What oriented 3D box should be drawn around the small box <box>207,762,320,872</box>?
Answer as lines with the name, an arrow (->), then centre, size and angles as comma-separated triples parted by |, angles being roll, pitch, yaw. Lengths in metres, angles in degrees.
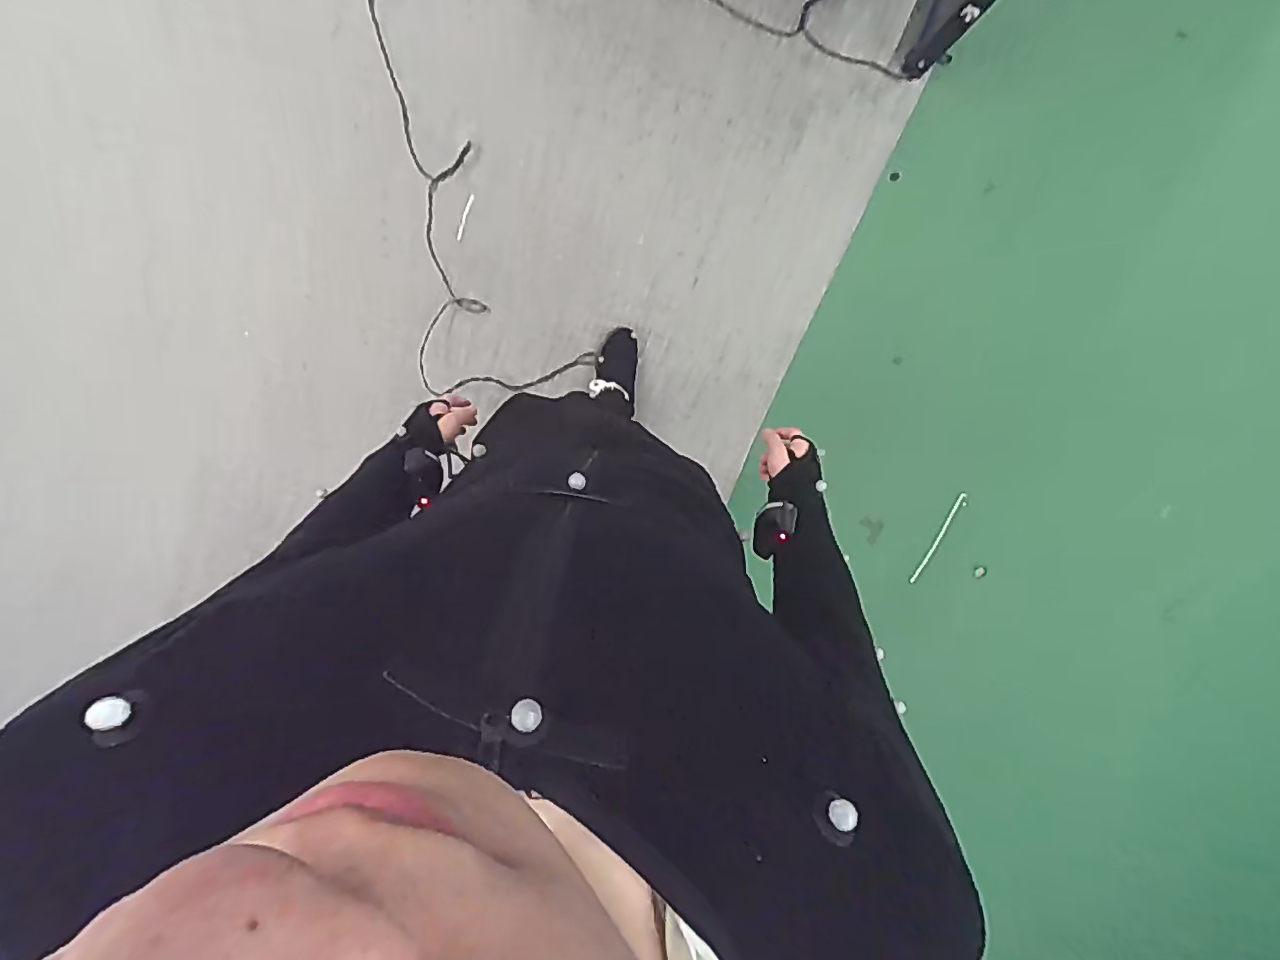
small box -> -0.916, 0.782, 1.302 | 0.179, 0.176, 0.168 | 28, 101, -6
